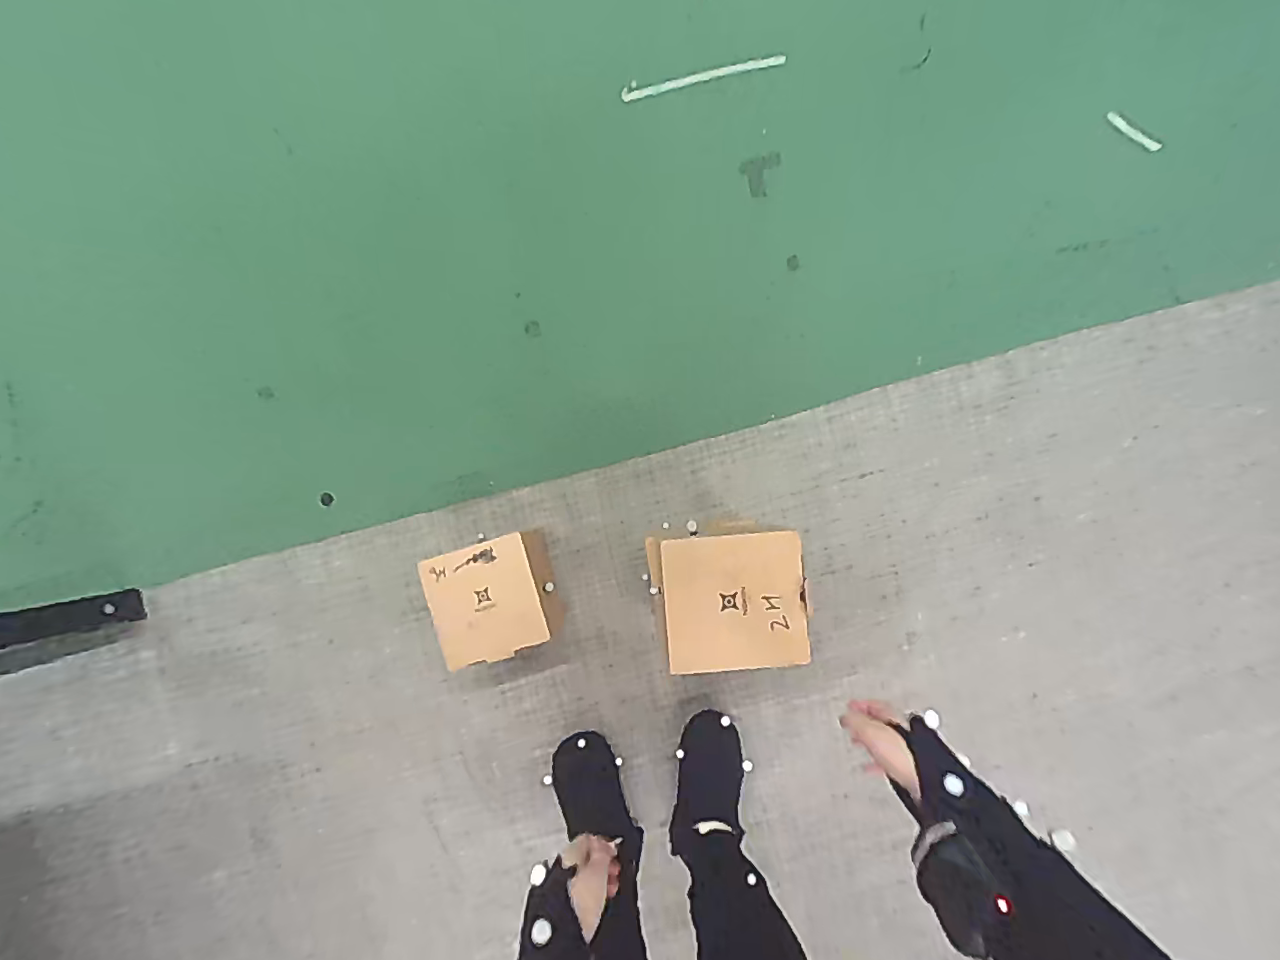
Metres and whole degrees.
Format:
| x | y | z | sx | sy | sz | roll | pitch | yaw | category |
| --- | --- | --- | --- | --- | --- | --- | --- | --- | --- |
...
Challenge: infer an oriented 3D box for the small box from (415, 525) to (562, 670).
| x | y | z | sx | sy | sz | roll | pitch | yaw | category |
| --- | --- | --- | --- | --- | --- | --- | --- | --- | --- |
| -0.235 | 0.181 | 0.886 | 0.168 | 0.176 | 0.179 | -17 | 88 | -1 | small box |

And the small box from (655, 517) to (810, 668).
| x | y | z | sx | sy | sz | roll | pitch | yaw | category |
| --- | --- | --- | --- | --- | --- | --- | --- | --- | --- |
| 0.112 | 0.140 | 0.727 | 0.179 | 0.176 | 0.168 | -5 | 89 | -1 | small box |
